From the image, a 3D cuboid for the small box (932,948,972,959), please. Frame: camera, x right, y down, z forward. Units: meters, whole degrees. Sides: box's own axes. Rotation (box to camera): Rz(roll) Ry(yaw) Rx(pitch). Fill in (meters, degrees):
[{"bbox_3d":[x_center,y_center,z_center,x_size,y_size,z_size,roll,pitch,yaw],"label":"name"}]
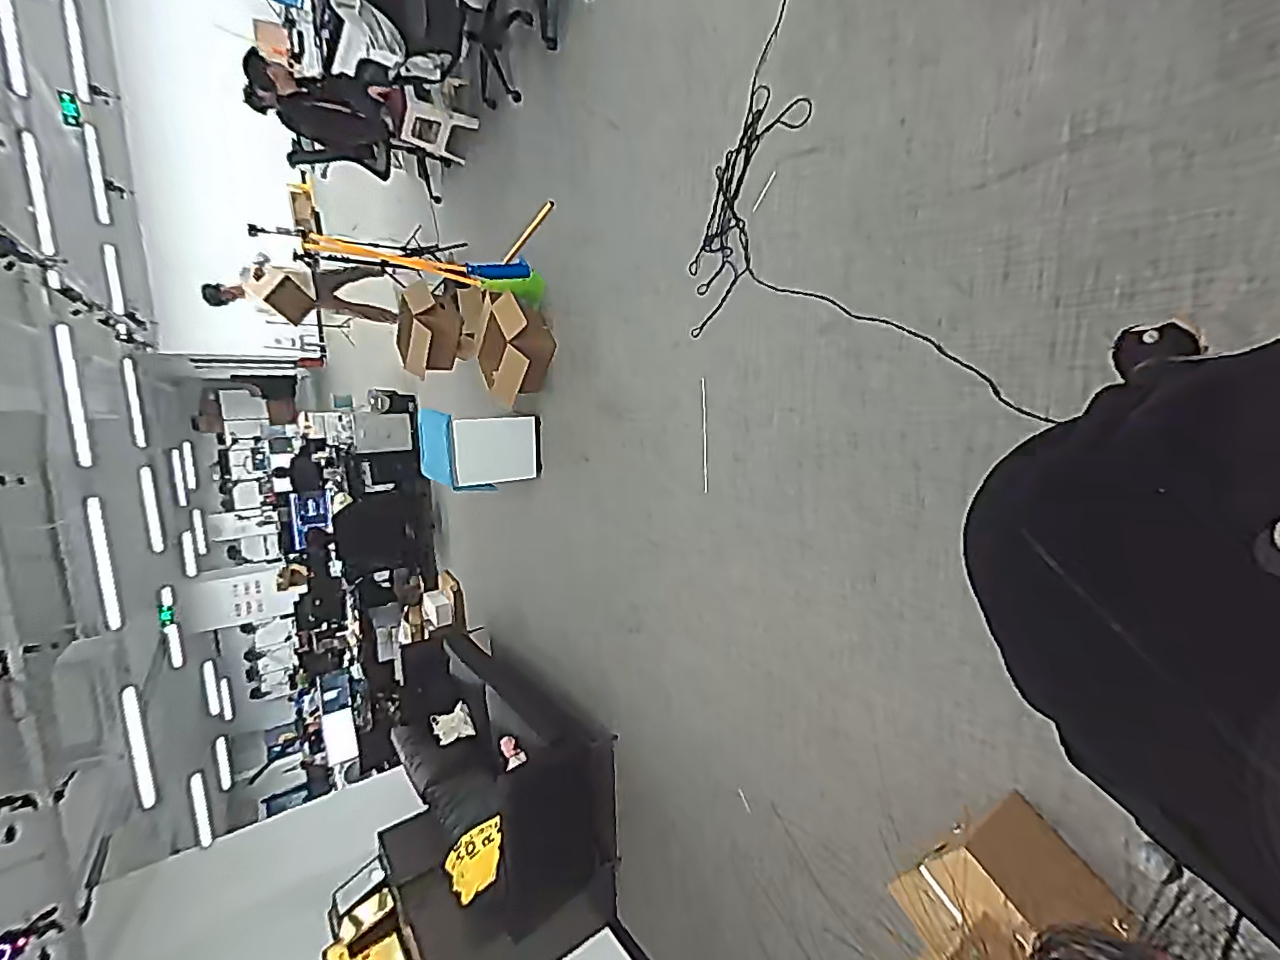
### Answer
[{"bbox_3d":[0.634,1.102,1.081,0.179,0.176,0.168,51,135,38],"label":"small box"}]
